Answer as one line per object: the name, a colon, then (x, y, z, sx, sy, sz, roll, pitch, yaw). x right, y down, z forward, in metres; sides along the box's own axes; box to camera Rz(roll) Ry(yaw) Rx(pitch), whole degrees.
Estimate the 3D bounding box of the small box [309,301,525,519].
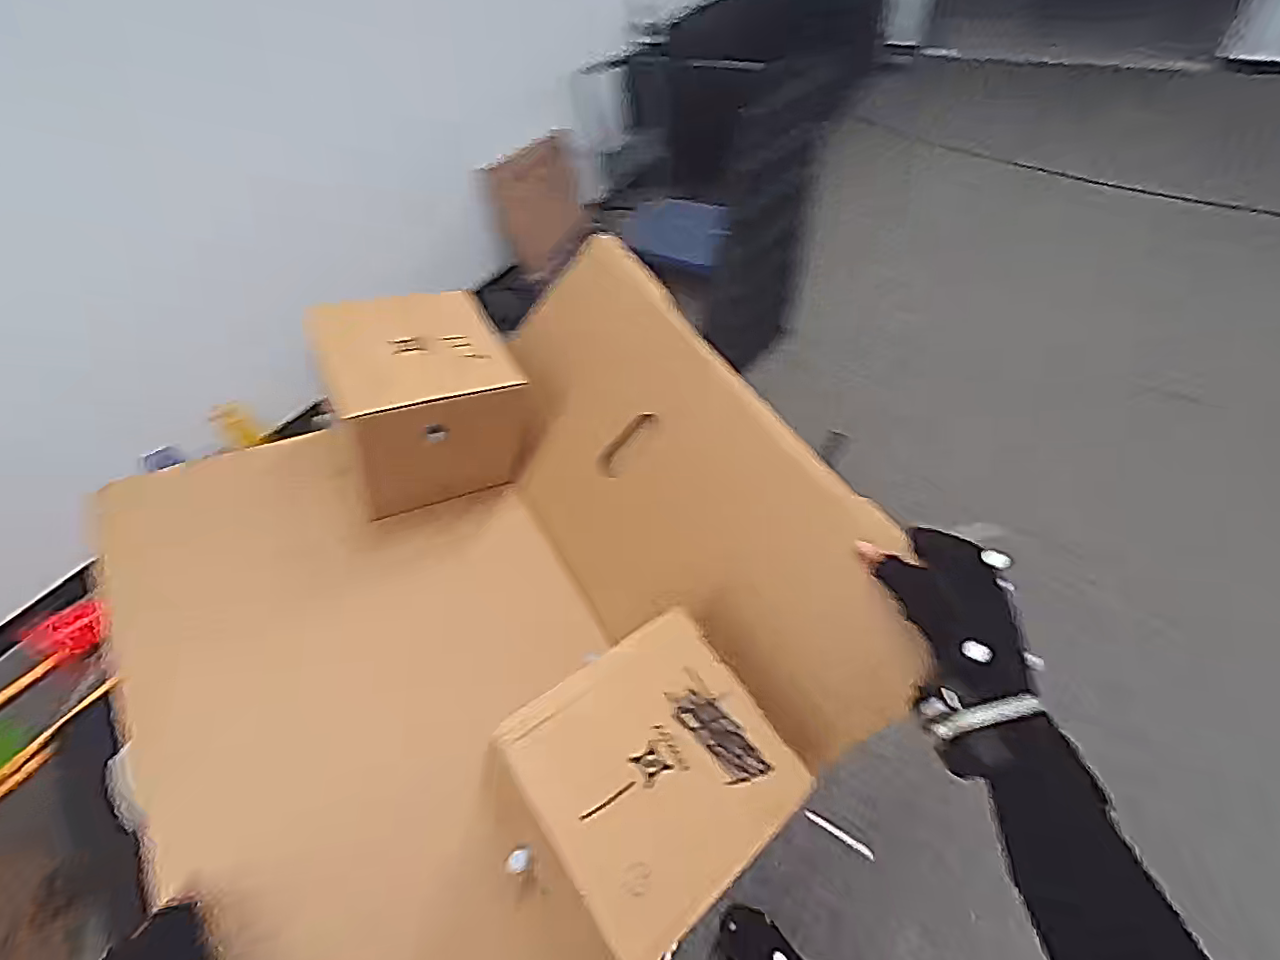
small box: (-0.249, -0.079, 0.619, 0.179, 0.176, 0.168, -17, 60, -30)
